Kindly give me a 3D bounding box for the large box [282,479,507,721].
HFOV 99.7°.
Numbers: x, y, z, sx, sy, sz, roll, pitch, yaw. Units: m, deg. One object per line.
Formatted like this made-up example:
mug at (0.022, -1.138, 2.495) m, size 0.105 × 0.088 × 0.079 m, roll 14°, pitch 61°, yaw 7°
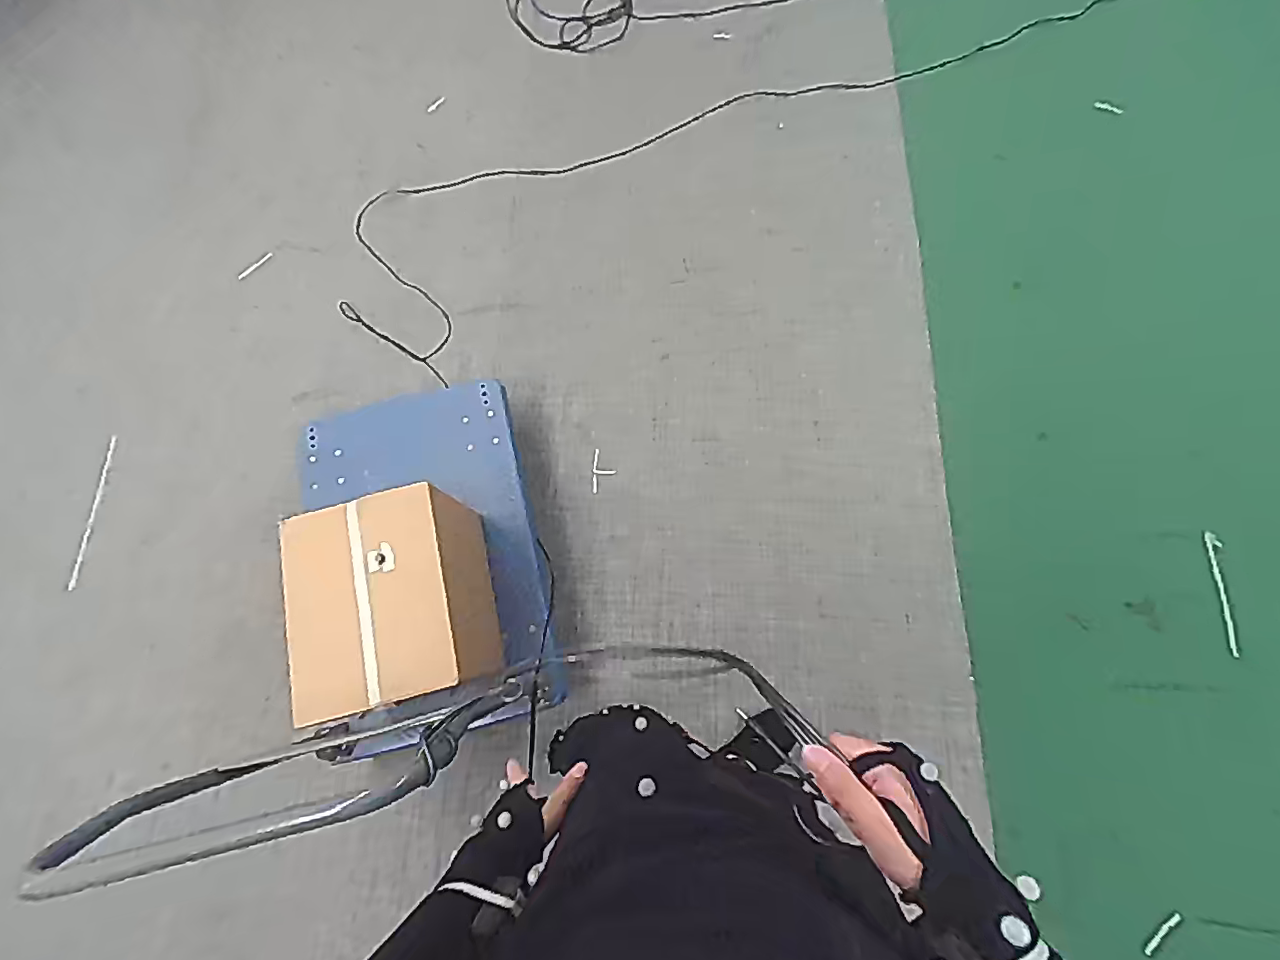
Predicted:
large box at (-0.518, 0.261, 1.183) m, size 0.320 × 0.320 × 0.408 m, roll -15°, pitch 73°, yaw -2°
